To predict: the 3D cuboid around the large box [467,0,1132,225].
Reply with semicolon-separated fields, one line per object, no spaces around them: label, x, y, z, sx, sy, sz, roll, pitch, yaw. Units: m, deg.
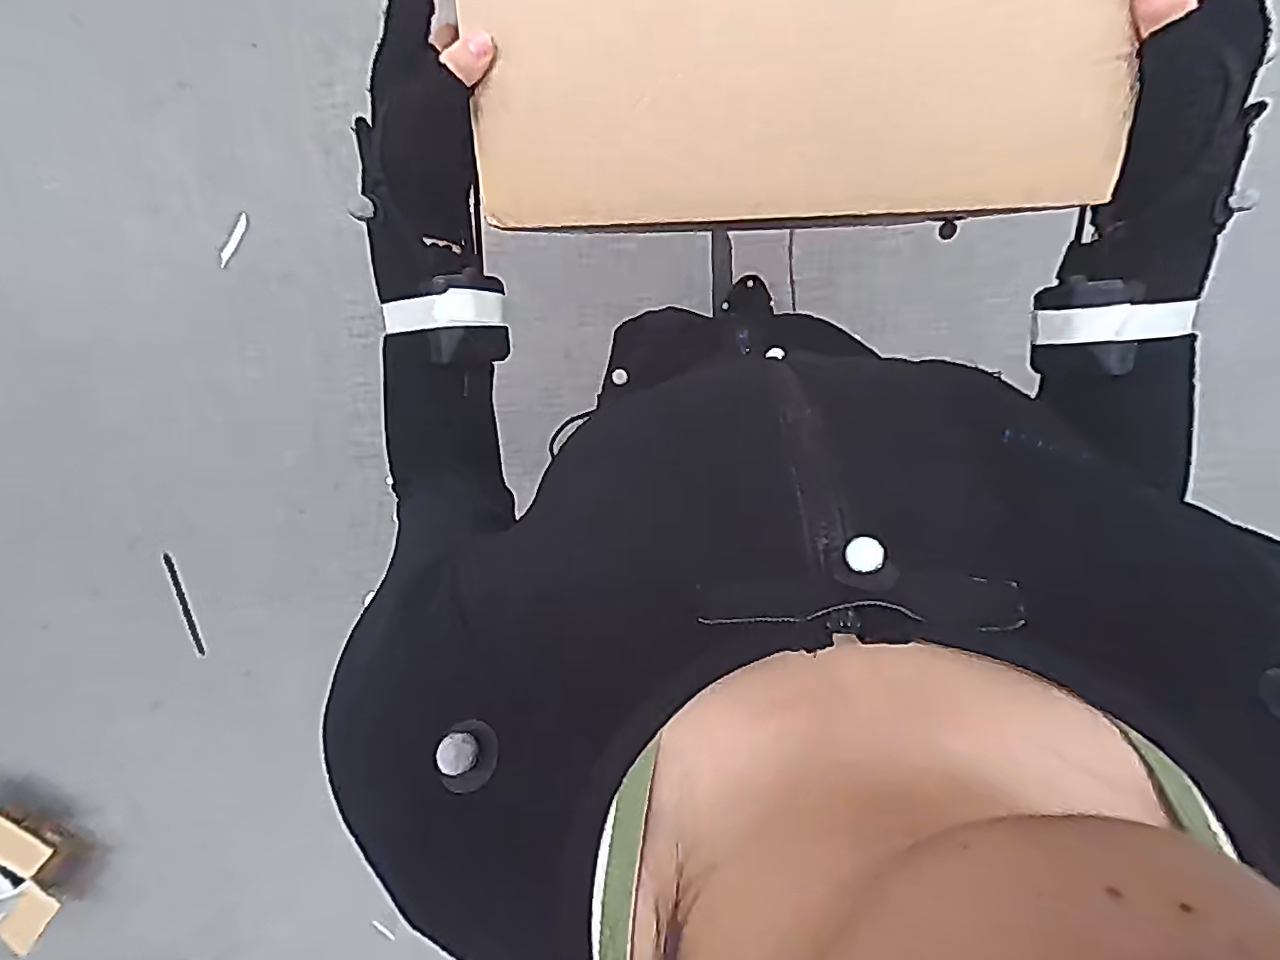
large box;0.101;-0.389;0.444;0.408;0.320;0.320;0;113;5
